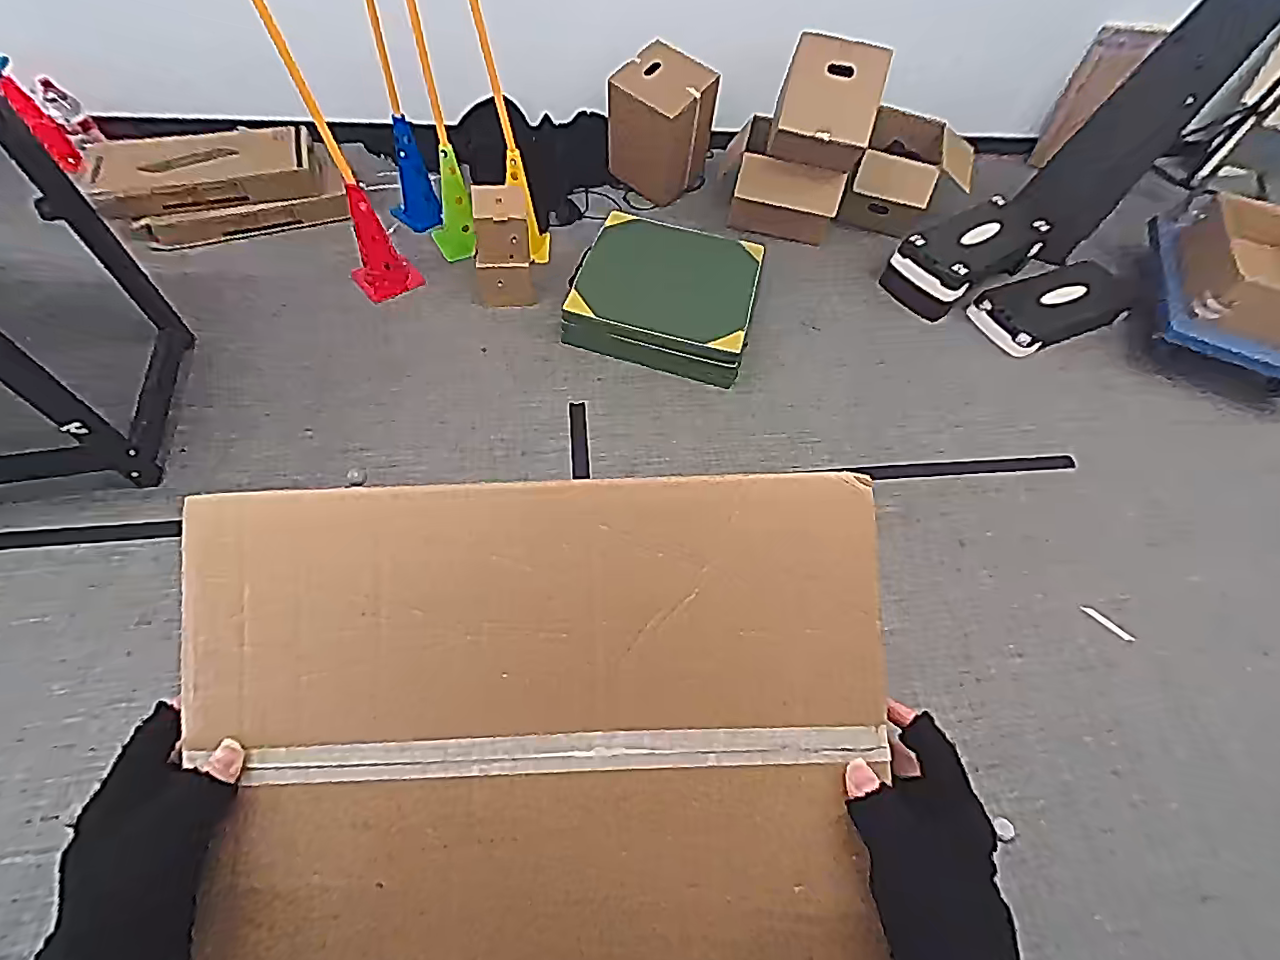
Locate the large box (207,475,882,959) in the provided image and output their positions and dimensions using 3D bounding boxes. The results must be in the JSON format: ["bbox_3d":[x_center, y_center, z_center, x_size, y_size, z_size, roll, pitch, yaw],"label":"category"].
[{"bbox_3d":[-0.061,0.166,0.474,0.408,0.320,0.320,-2,88,0],"label":"large box"}]
